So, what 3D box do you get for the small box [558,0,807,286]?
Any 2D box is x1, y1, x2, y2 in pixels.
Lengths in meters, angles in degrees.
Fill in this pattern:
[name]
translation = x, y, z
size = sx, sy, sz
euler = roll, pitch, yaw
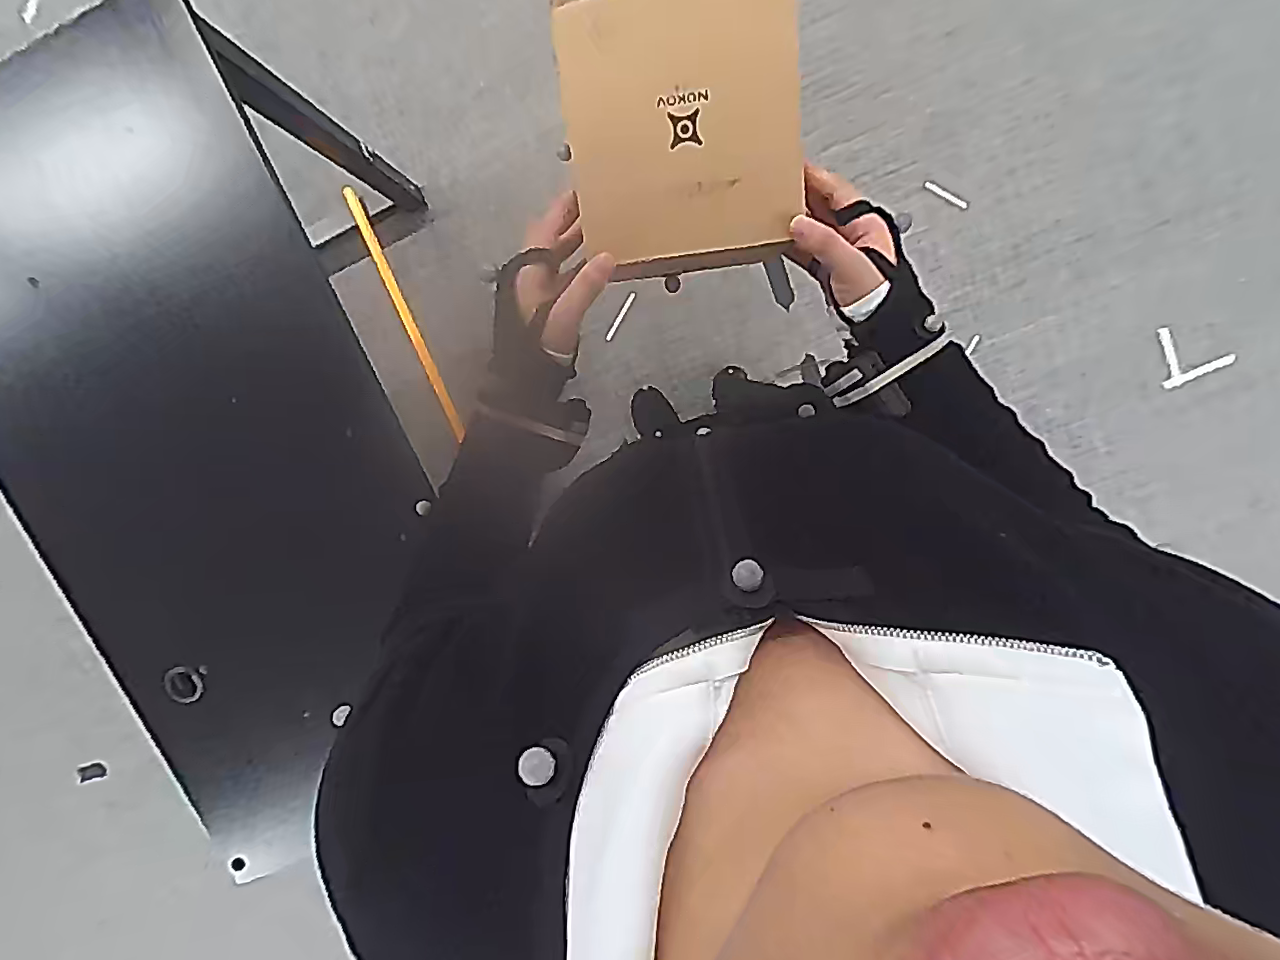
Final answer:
[small box]
translation = 0.033, -0.270, 0.457
size = 0.168, 0.176, 0.179
euler = -7, 106, 2
